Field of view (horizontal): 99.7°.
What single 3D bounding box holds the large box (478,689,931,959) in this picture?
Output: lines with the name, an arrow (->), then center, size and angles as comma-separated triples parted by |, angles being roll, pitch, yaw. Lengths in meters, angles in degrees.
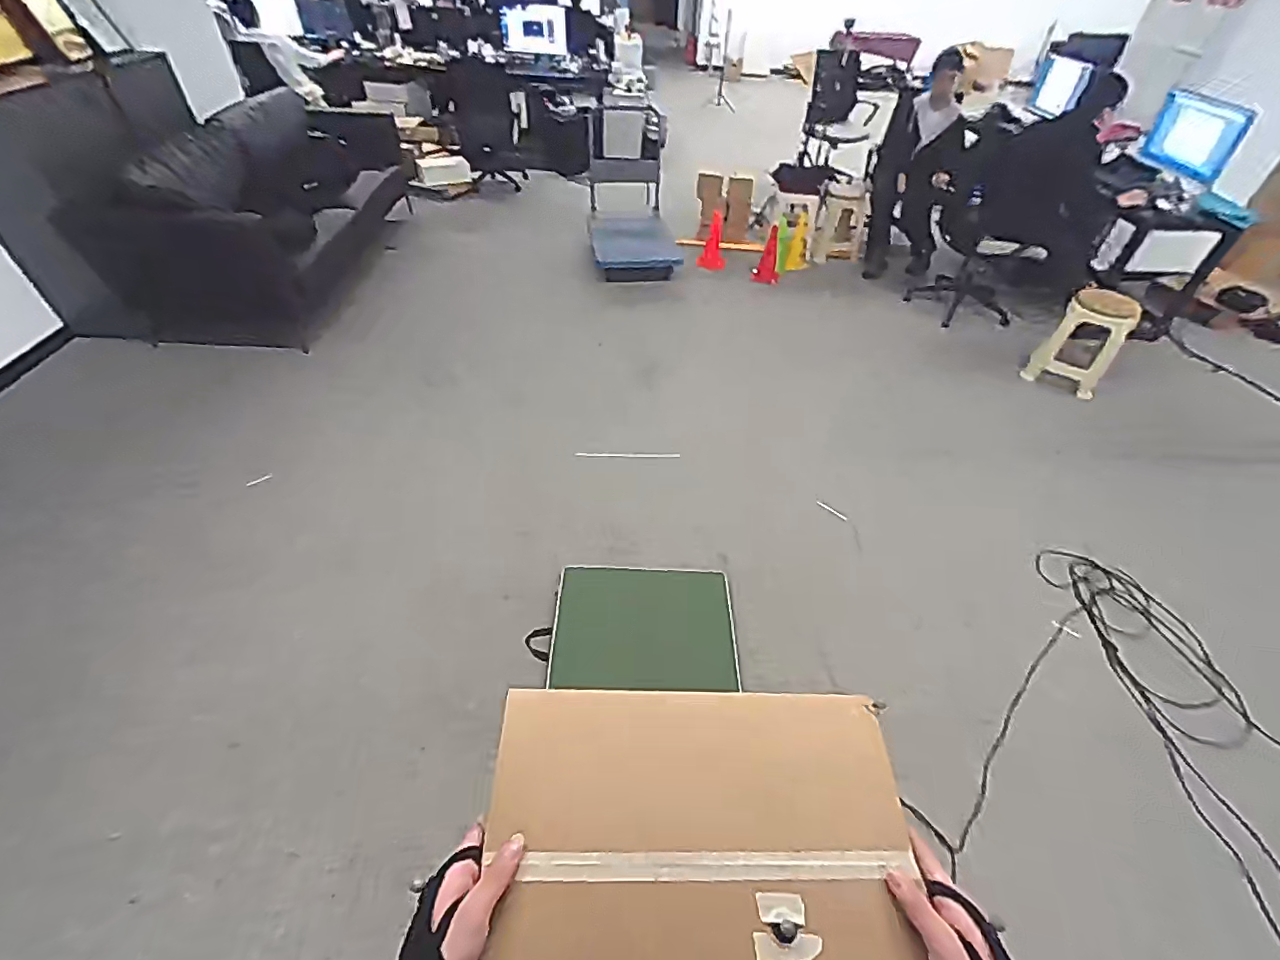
large box -> 0.047, 0.452, 0.627 | 0.408, 0.320, 0.320 | 2, 51, -3
